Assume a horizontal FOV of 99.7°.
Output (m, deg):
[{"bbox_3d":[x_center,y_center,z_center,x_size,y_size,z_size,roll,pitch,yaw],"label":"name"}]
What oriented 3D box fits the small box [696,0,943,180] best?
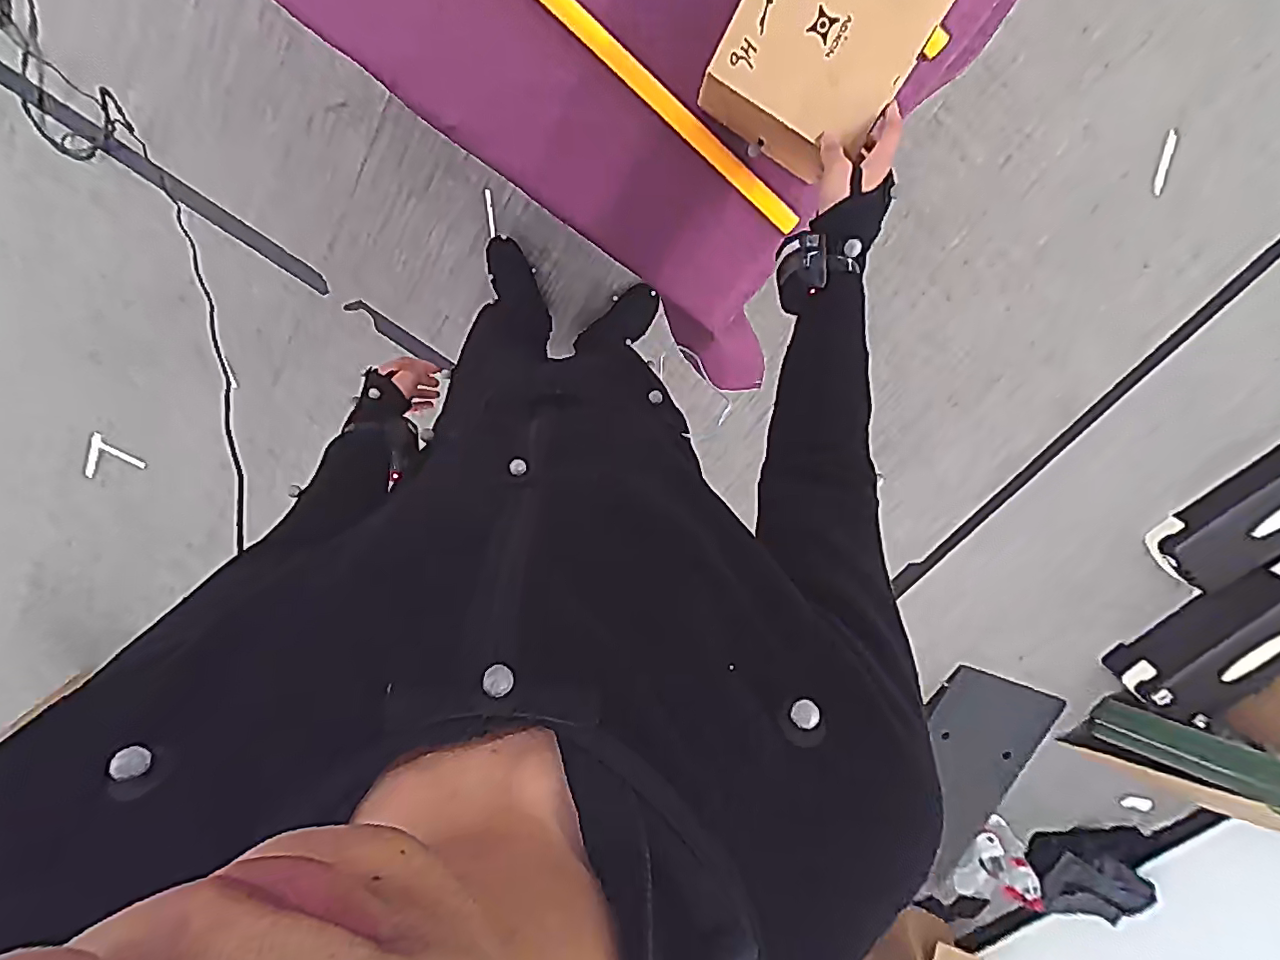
[{"bbox_3d":[0.178,-0.458,0.599,0.179,0.176,0.168,28,113,-11],"label":"small box"}]
